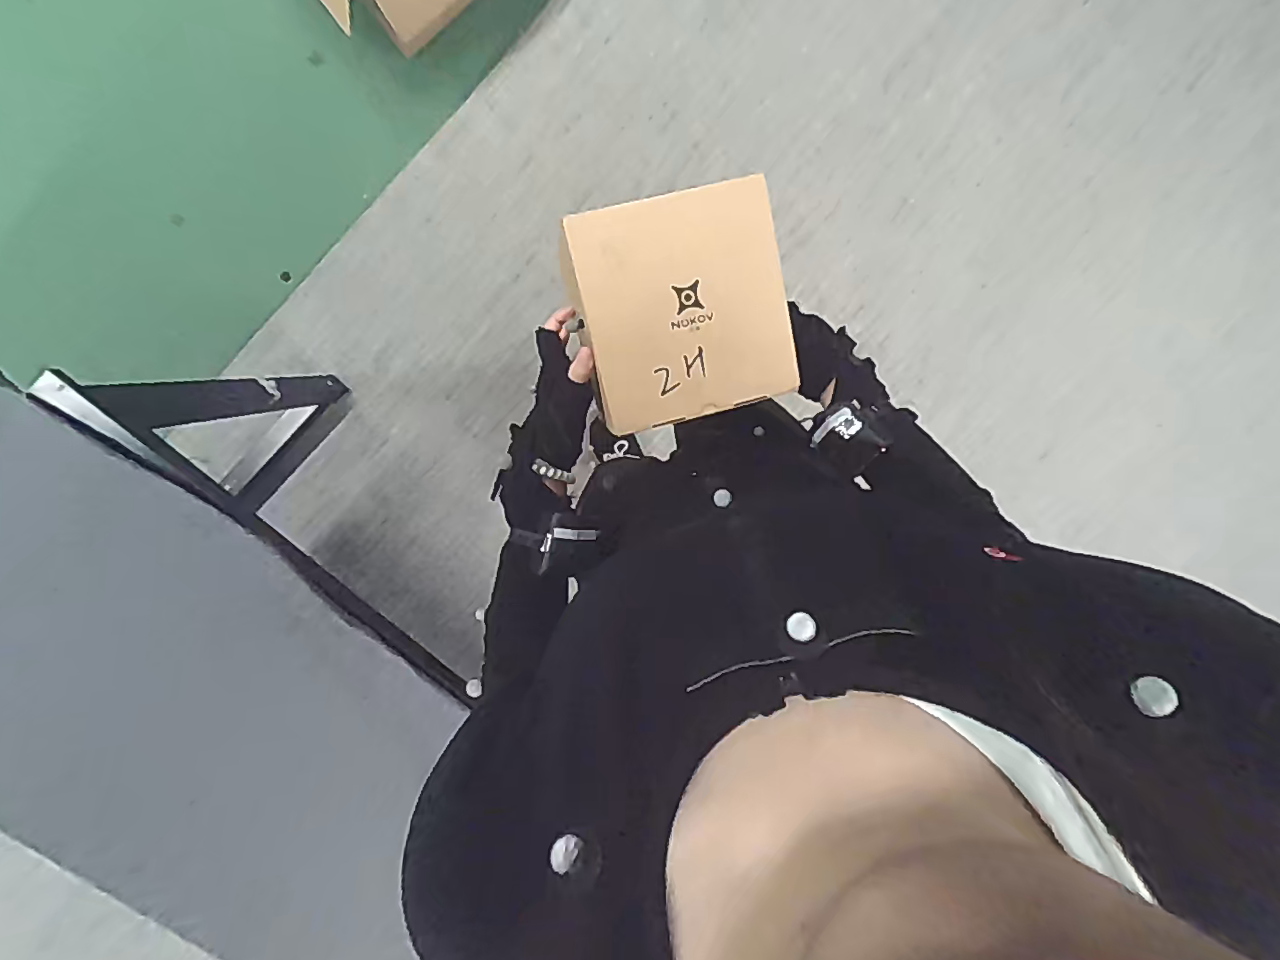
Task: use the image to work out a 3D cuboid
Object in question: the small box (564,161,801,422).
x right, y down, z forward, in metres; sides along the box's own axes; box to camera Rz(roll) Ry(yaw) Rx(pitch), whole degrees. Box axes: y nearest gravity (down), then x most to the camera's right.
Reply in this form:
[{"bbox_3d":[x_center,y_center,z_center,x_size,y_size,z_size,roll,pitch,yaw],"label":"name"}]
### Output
[{"bbox_3d":[0.027,-0.162,0.506,0.168,0.176,0.179,-15,104,-6],"label":"small box"}]
